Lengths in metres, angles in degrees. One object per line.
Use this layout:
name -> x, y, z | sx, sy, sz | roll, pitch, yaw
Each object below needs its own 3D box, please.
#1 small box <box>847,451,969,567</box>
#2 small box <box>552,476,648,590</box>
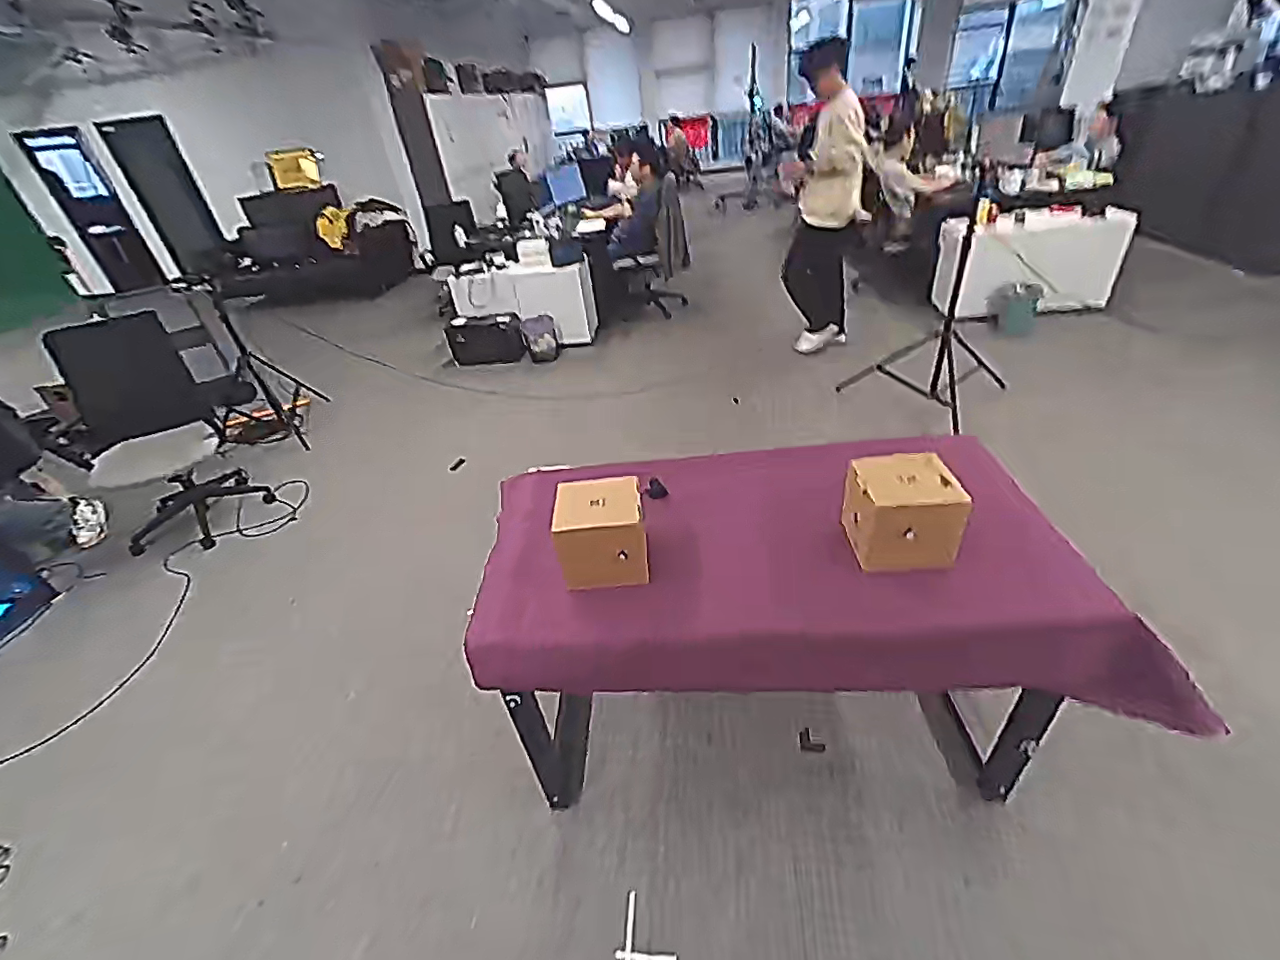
small box -> 0.529, 0.061, 1.099 | 0.179, 0.176, 0.168 | -5, 35, 6
small box -> -0.077, 0.113, 1.149 | 0.179, 0.176, 0.168 | -7, 33, 2
